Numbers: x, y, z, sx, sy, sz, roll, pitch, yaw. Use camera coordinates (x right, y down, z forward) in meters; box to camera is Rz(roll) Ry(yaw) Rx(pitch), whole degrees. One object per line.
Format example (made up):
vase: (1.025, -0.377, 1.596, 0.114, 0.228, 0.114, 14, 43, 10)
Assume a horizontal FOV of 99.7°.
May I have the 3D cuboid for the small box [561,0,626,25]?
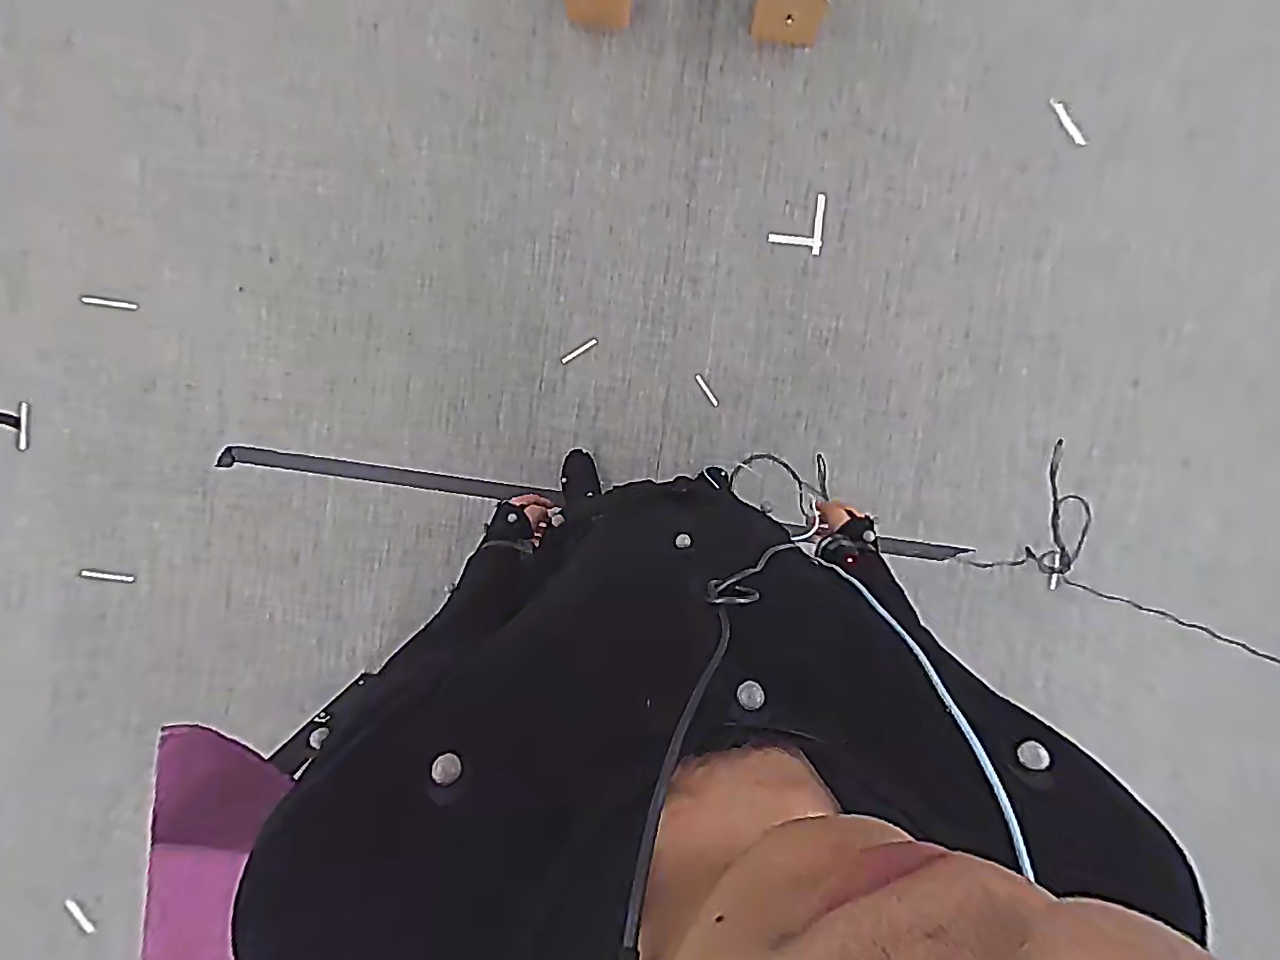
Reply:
small box: (-0.121, -1.377, 1.455, 0.179, 0.176, 0.168, 6, 94, -1)
